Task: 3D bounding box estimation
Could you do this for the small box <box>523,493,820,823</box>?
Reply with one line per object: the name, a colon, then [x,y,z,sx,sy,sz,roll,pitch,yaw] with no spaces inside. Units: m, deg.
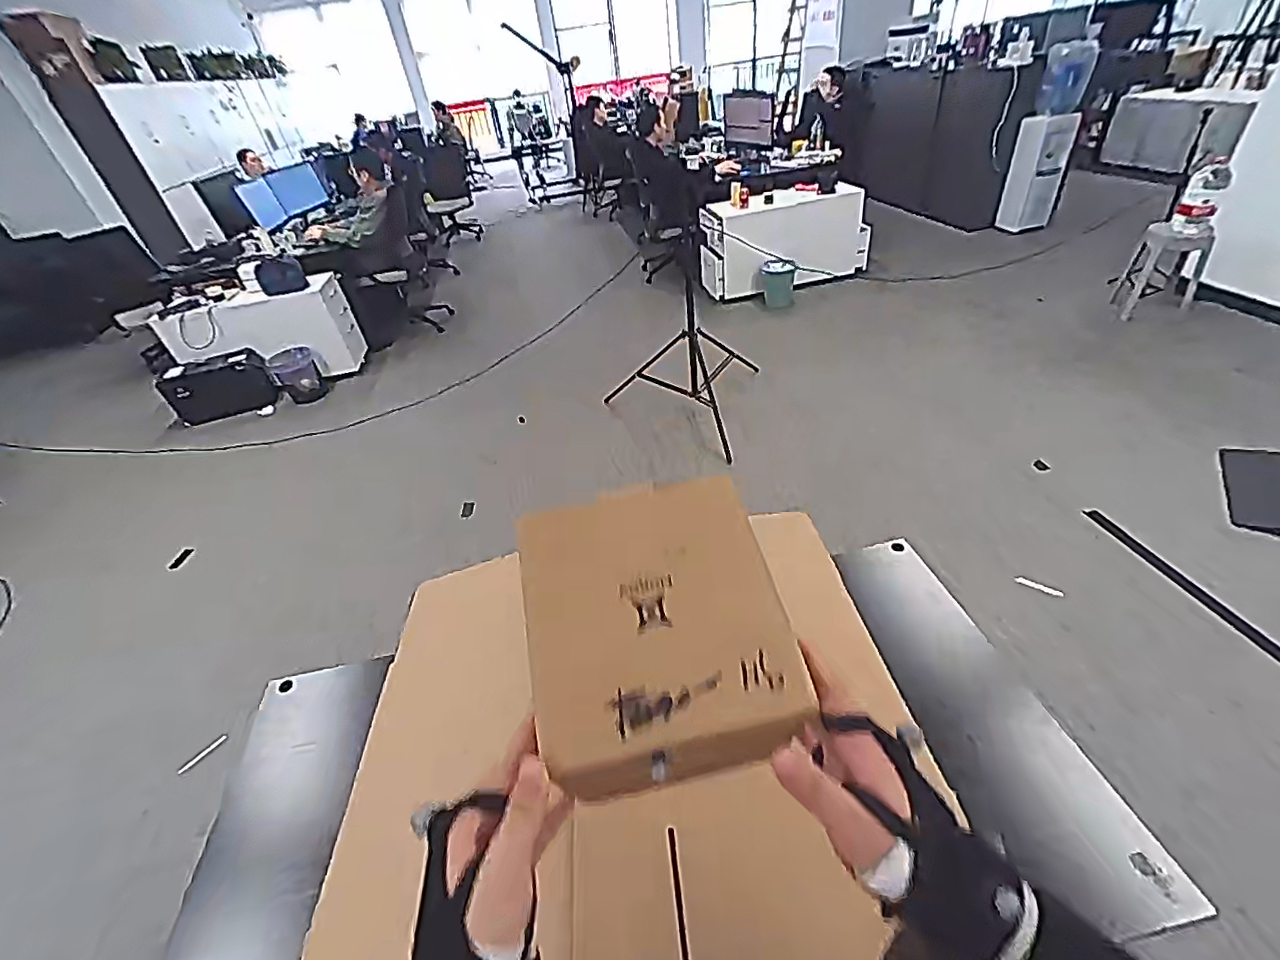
small box: [0.012,0.139,0.418,0.168,0.176,0.179,-12,53,-5]
